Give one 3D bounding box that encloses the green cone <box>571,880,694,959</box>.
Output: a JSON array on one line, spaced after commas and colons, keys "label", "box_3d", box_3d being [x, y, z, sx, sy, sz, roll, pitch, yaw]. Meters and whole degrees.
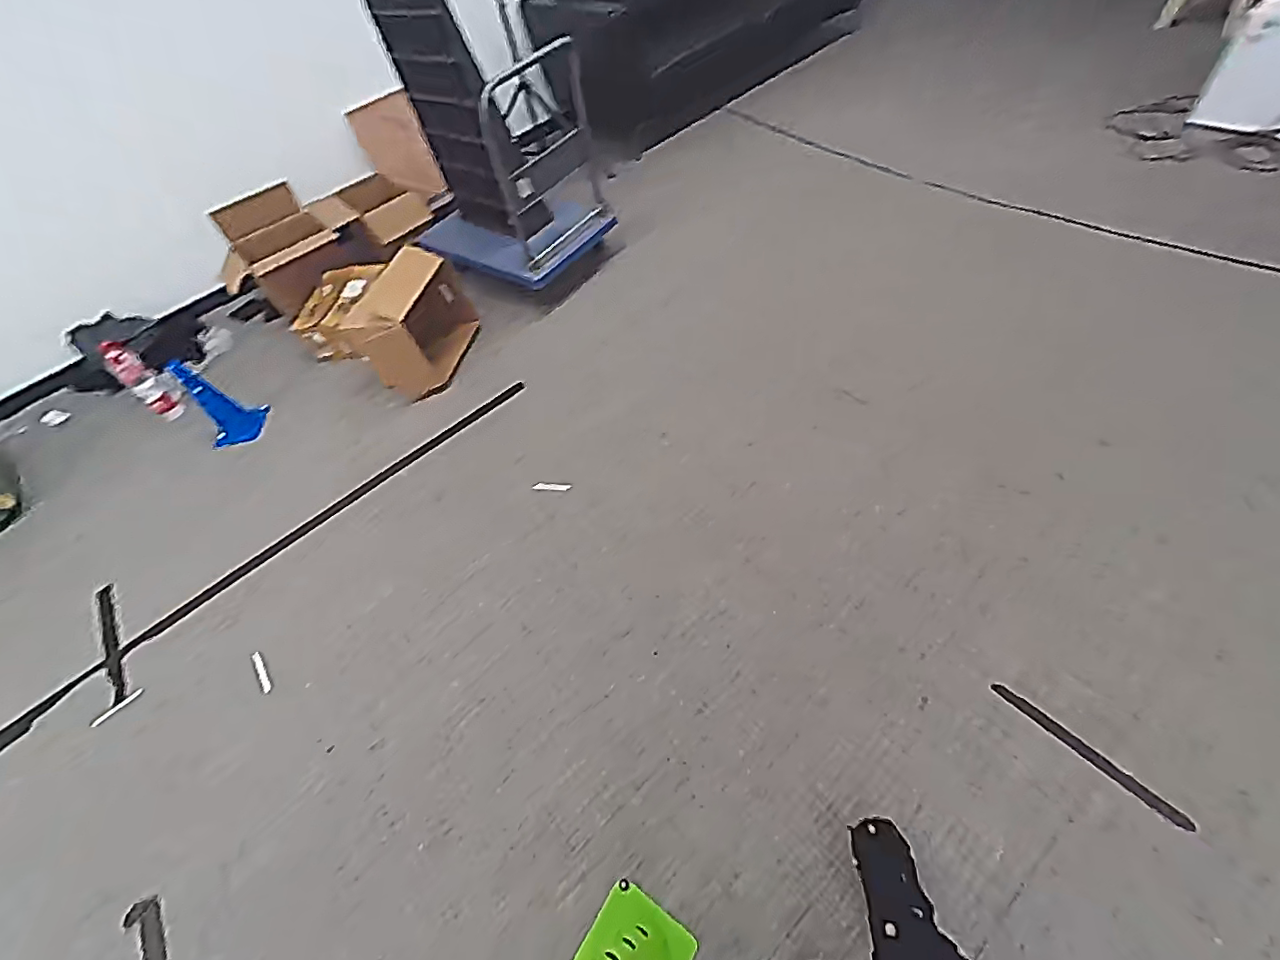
[{"label": "green cone", "box_3d": [-0.045, 0.856, 0.940, 0.202, 0.368, 0.200, 25, 63, 26]}]
